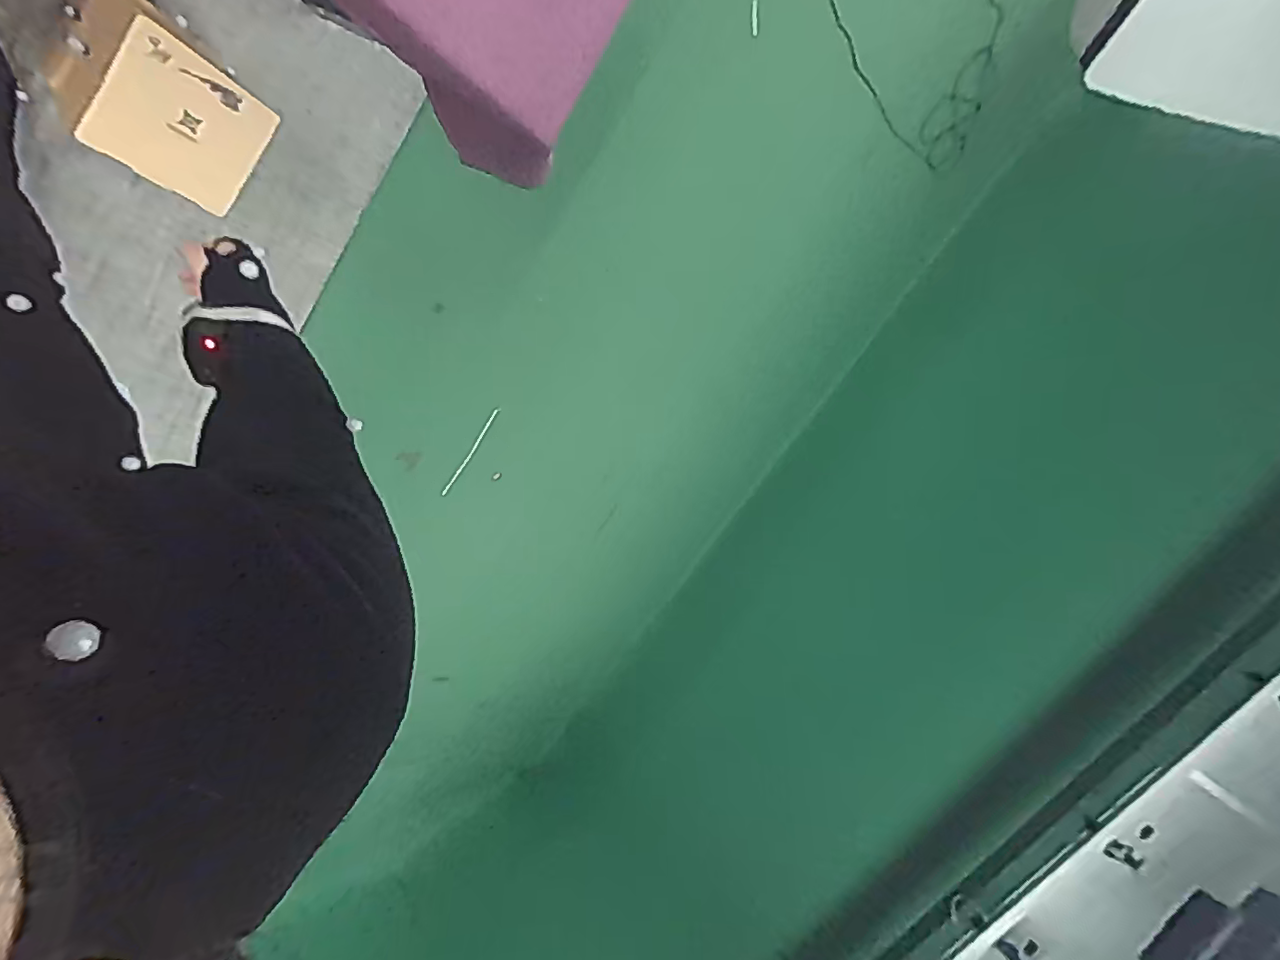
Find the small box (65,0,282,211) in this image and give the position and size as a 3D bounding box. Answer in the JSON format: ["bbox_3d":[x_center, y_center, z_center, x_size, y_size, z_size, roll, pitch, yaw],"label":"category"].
[{"bbox_3d":[-0.651,-0.526,0.753,0.179,0.176,0.168,-50,153,9],"label":"small box"}]

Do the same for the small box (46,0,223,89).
[{"bbox_3d":[-0.755,-0.632,0.829,0.179,0.176,0.168,-50,152,5],"label":"small box"}]
